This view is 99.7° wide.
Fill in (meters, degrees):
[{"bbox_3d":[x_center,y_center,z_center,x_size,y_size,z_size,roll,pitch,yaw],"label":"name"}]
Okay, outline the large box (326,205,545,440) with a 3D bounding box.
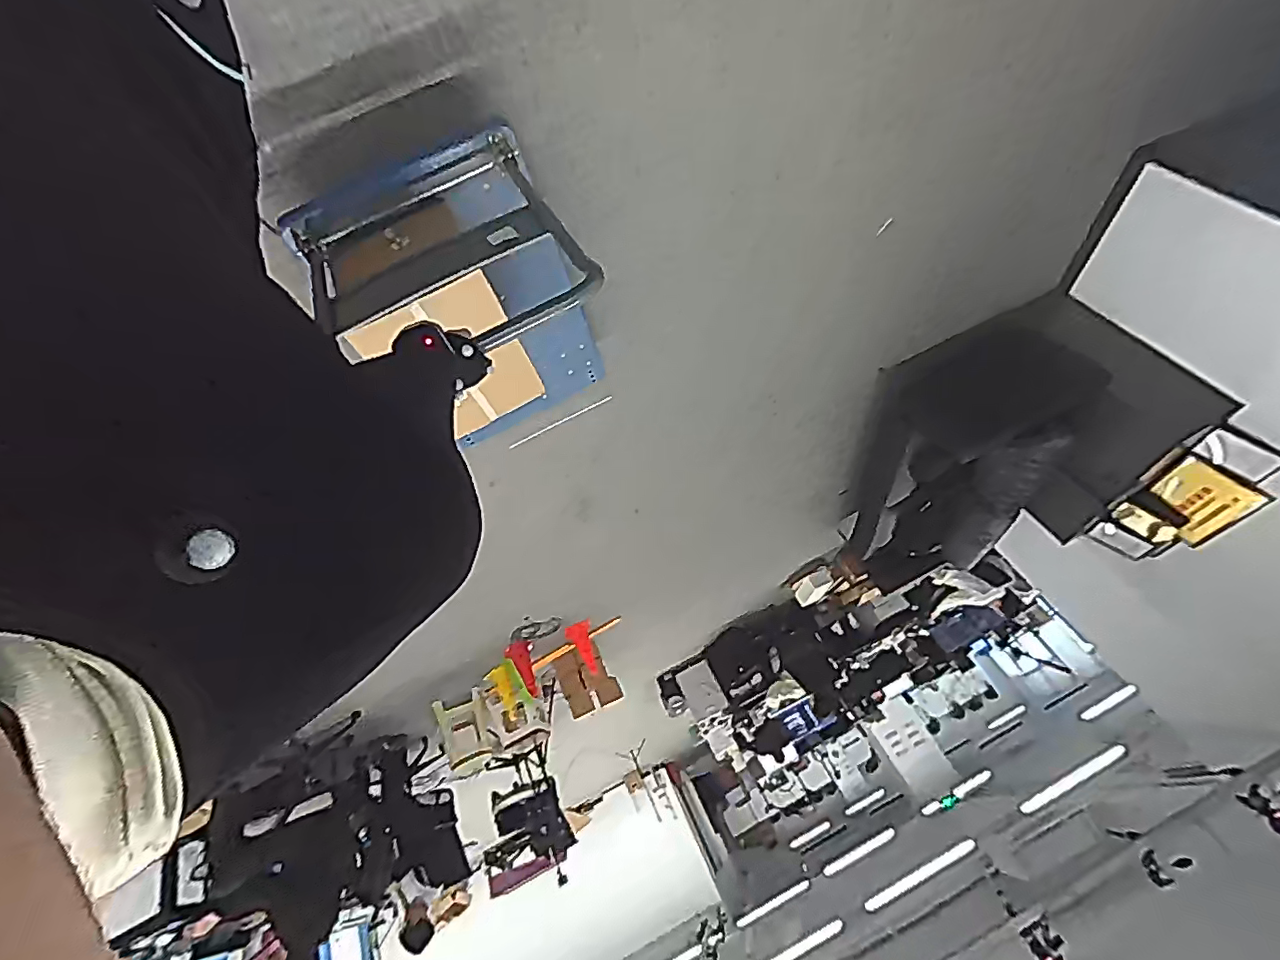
[{"bbox_3d":[-0.497,-0.381,1.357,0.320,0.320,0.408,-28,148,-4],"label":"large box"}]
